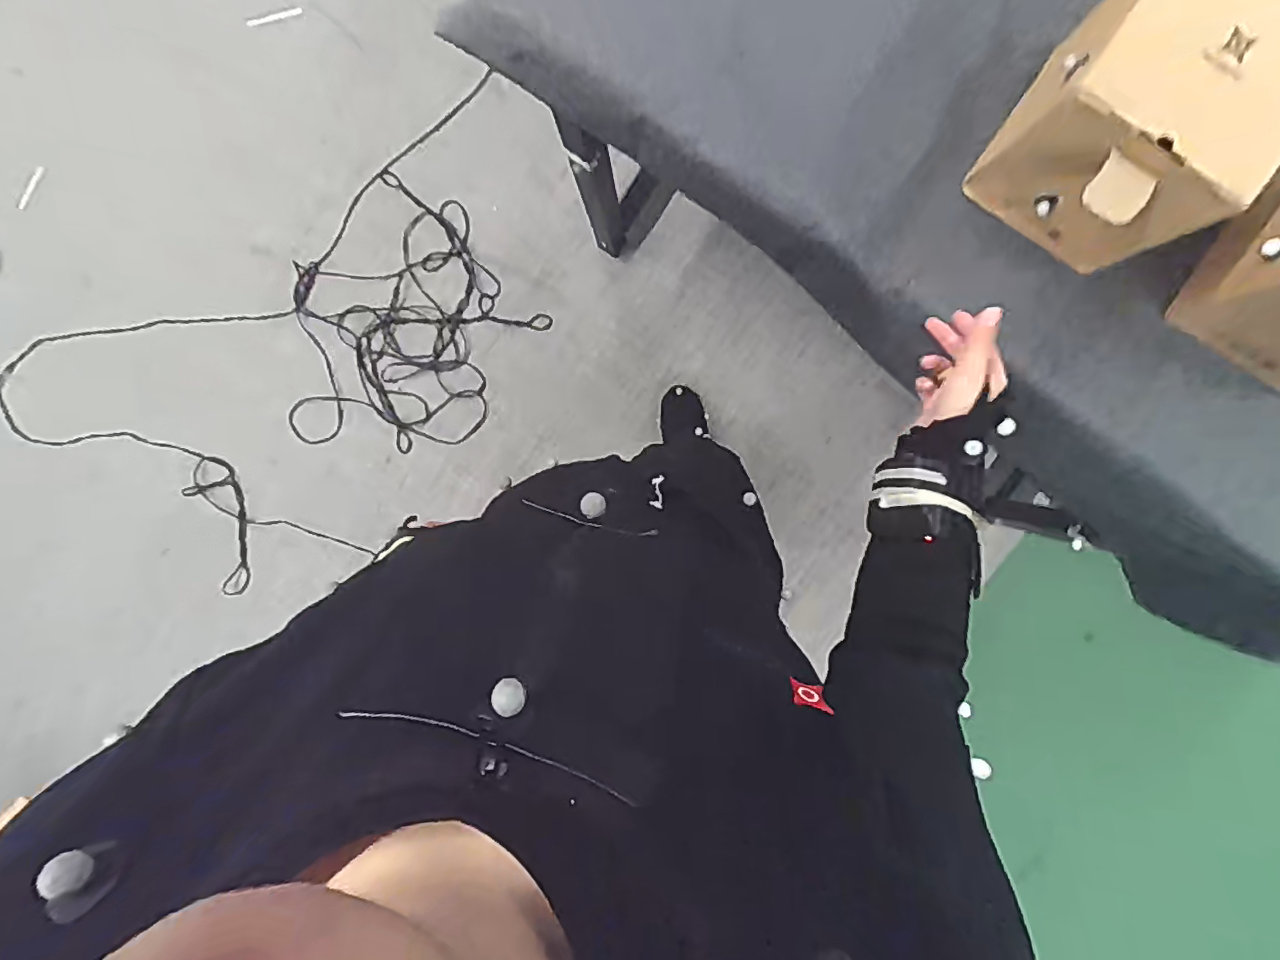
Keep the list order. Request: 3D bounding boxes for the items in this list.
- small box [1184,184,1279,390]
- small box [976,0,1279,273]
[{"bbox_3d":[0.671,-0.192,0.490,0.168,0.176,0.179,31,93,-1],"label":"small box"},{"bbox_3d":[0.457,-0.326,0.490,0.168,0.176,0.179,34,94,0],"label":"small box"}]
